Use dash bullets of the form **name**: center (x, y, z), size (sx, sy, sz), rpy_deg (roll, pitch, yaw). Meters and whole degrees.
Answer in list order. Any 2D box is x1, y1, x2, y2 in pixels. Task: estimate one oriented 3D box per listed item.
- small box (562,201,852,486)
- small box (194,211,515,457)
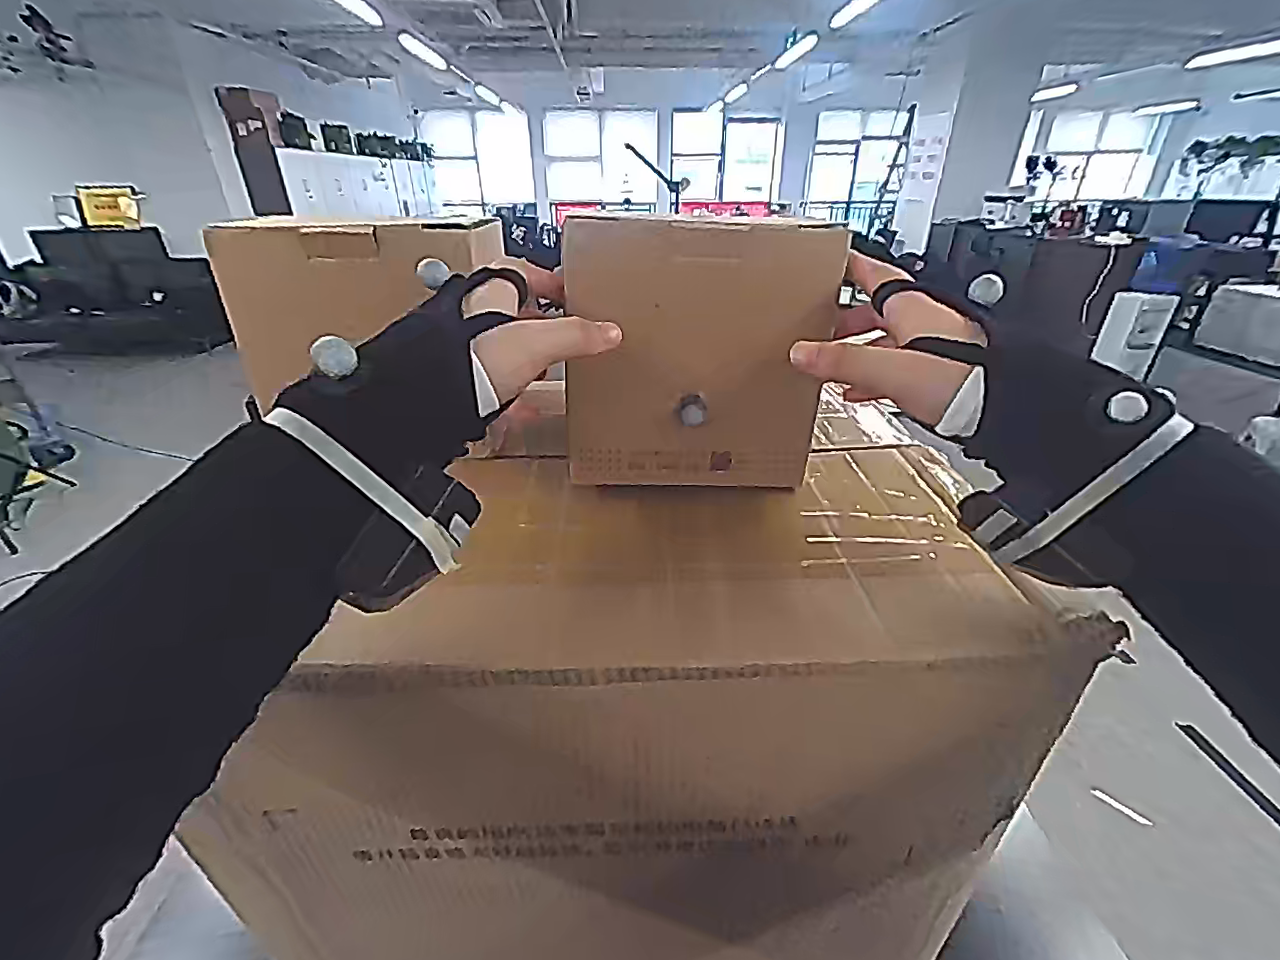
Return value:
- **small box**: center (0.032, -0.109, 0.407), size (0.168, 0.176, 0.179), rpy_deg (1, 27, -3)
- **small box**: center (-0.202, -0.124, 0.449), size (0.168, 0.176, 0.179), rpy_deg (-3, 28, -5)
